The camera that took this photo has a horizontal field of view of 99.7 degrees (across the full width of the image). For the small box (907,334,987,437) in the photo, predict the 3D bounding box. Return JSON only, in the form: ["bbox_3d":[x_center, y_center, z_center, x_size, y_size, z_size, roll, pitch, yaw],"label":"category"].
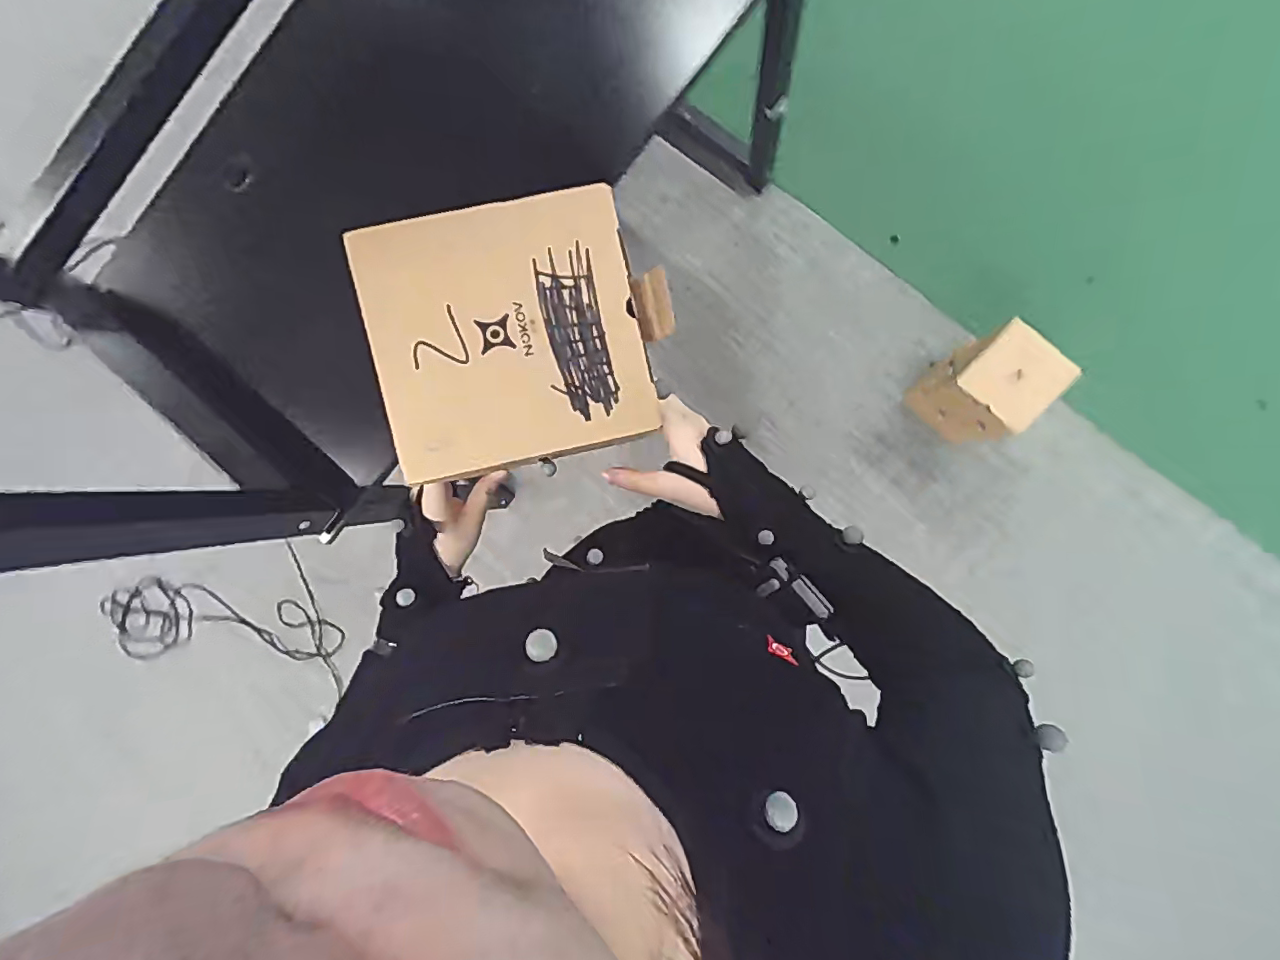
[{"bbox_3d":[0.787,-0.217,1.307,0.179,0.176,0.168,43,96,4],"label":"small box"}]

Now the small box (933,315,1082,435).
[{"bbox_3d":[0.760,-0.211,1.148,0.168,0.176,0.179,42,95,5],"label":"small box"}]
